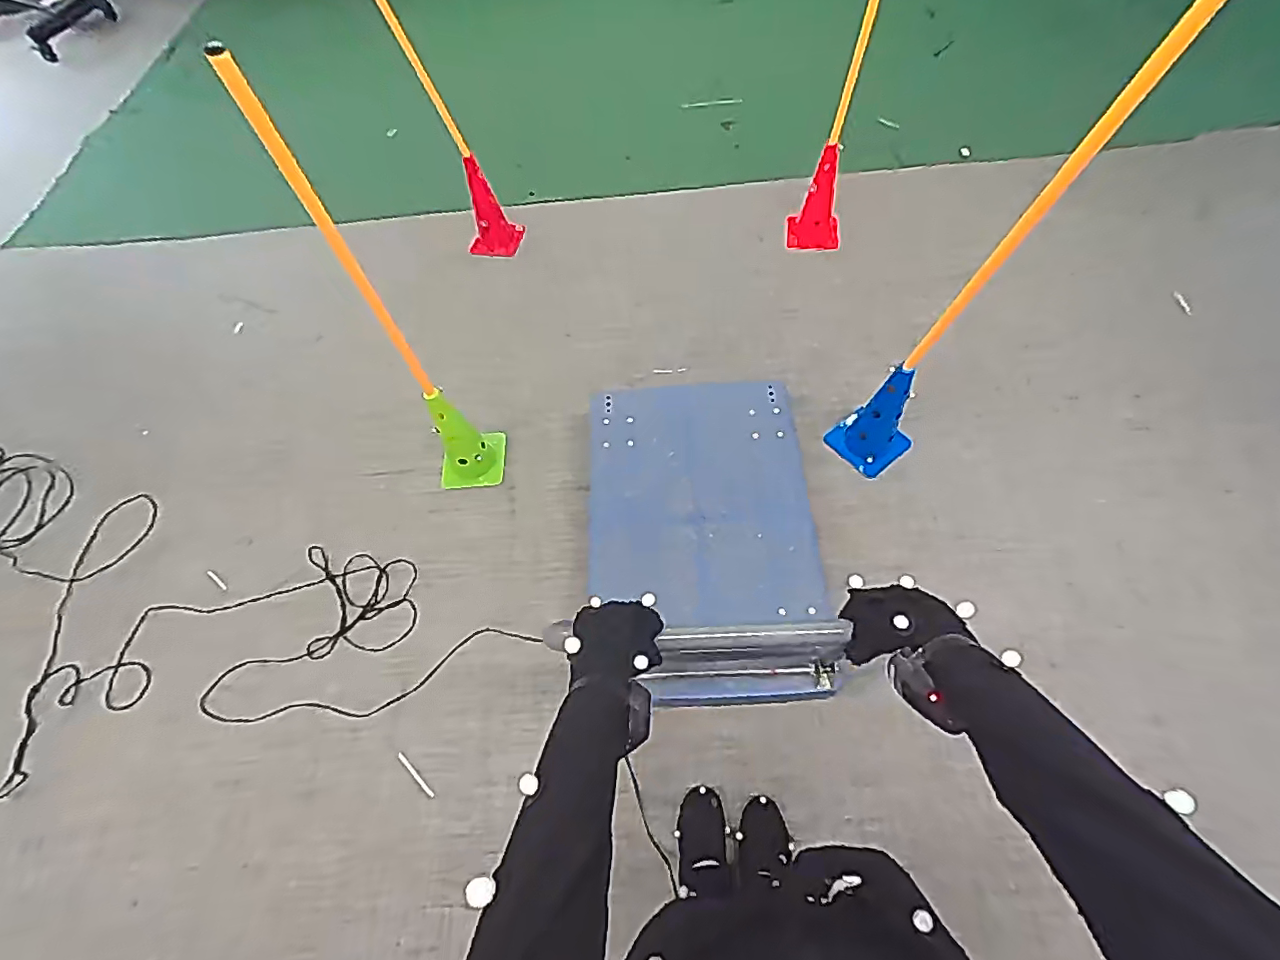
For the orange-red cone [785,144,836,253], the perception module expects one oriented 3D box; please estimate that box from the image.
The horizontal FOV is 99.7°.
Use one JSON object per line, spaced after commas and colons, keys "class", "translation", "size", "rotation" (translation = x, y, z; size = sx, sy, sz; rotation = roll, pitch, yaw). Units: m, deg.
{"class": "orange-red cone", "translation": [0.666, -1.056, 2.008], "size": [0.198, 0.360, 0.199], "rotation": [6, 63, 9]}
